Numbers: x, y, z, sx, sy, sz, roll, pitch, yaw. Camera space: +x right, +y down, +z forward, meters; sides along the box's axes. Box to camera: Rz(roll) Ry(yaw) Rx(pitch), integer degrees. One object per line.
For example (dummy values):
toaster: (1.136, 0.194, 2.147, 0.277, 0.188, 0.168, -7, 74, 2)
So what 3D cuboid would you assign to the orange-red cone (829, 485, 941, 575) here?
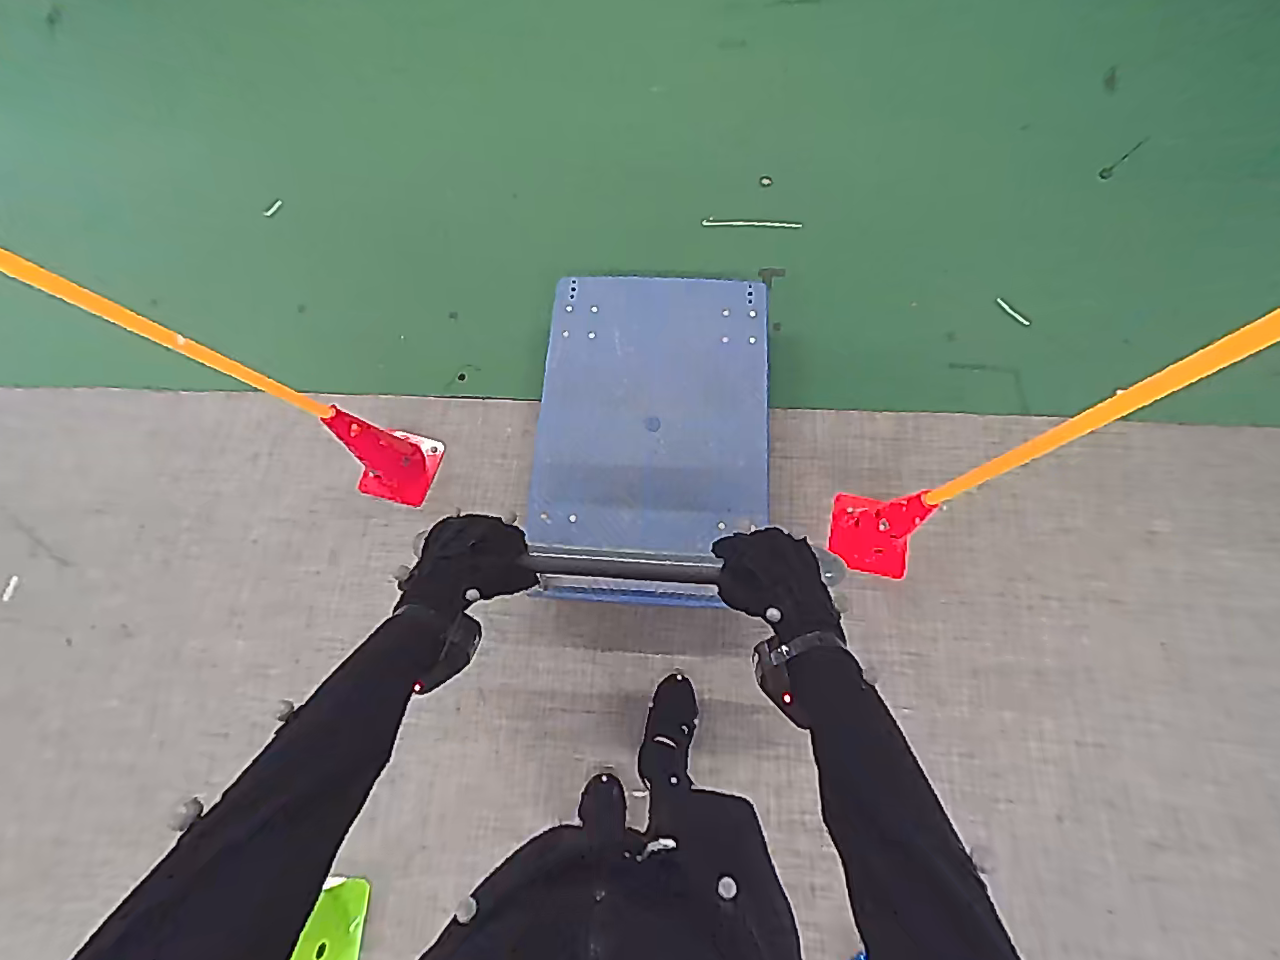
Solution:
orange-red cone: (0.595, 0.083, 1.247, 0.198, 0.360, 0.199, 13, 74, 7)
